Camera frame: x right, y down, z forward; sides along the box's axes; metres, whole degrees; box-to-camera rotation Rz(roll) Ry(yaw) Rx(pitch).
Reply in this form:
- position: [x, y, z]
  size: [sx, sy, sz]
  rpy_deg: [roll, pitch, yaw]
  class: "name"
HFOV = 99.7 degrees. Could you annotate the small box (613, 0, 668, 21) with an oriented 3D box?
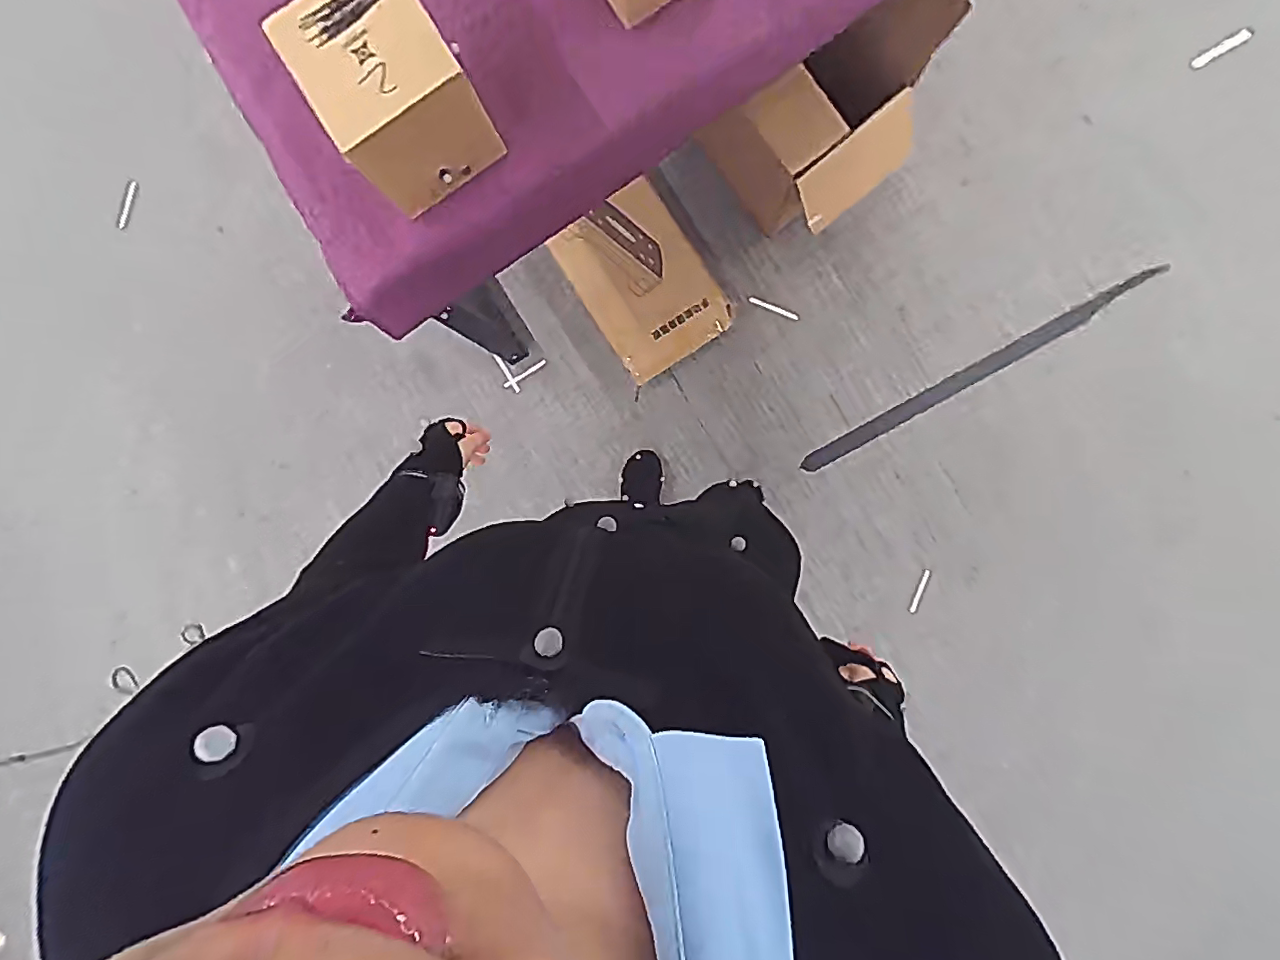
- position: [0.014, -0.721, 0.642]
  size: [0.179, 0.176, 0.168]
  rpy_deg: [-32, 88, 4]
  class: "small box"
